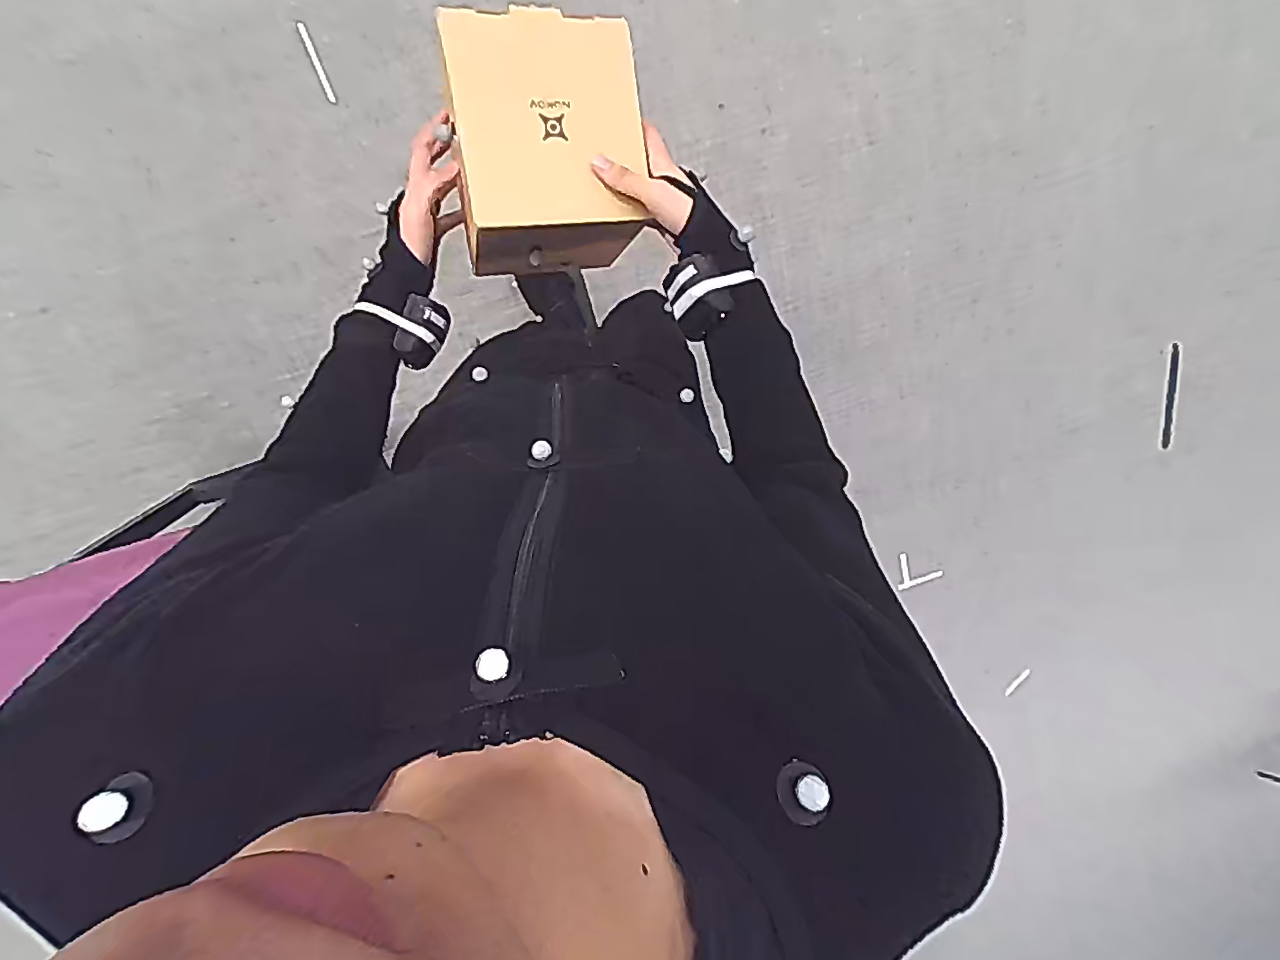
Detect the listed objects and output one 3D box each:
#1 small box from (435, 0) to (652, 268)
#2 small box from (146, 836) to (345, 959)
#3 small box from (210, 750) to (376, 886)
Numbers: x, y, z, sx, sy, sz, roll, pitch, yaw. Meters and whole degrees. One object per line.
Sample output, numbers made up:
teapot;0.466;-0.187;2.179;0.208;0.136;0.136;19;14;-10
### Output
small box;-0.098;-0.323;0.542;0.168;0.176;0.179;-11;98;-15
small box;-0.620;0.720;0.870;0.179;0.176;0.168;-16;114;0
small box;-0.635;0.654;1.020;0.168;0.176;0.179;-22;113;2
